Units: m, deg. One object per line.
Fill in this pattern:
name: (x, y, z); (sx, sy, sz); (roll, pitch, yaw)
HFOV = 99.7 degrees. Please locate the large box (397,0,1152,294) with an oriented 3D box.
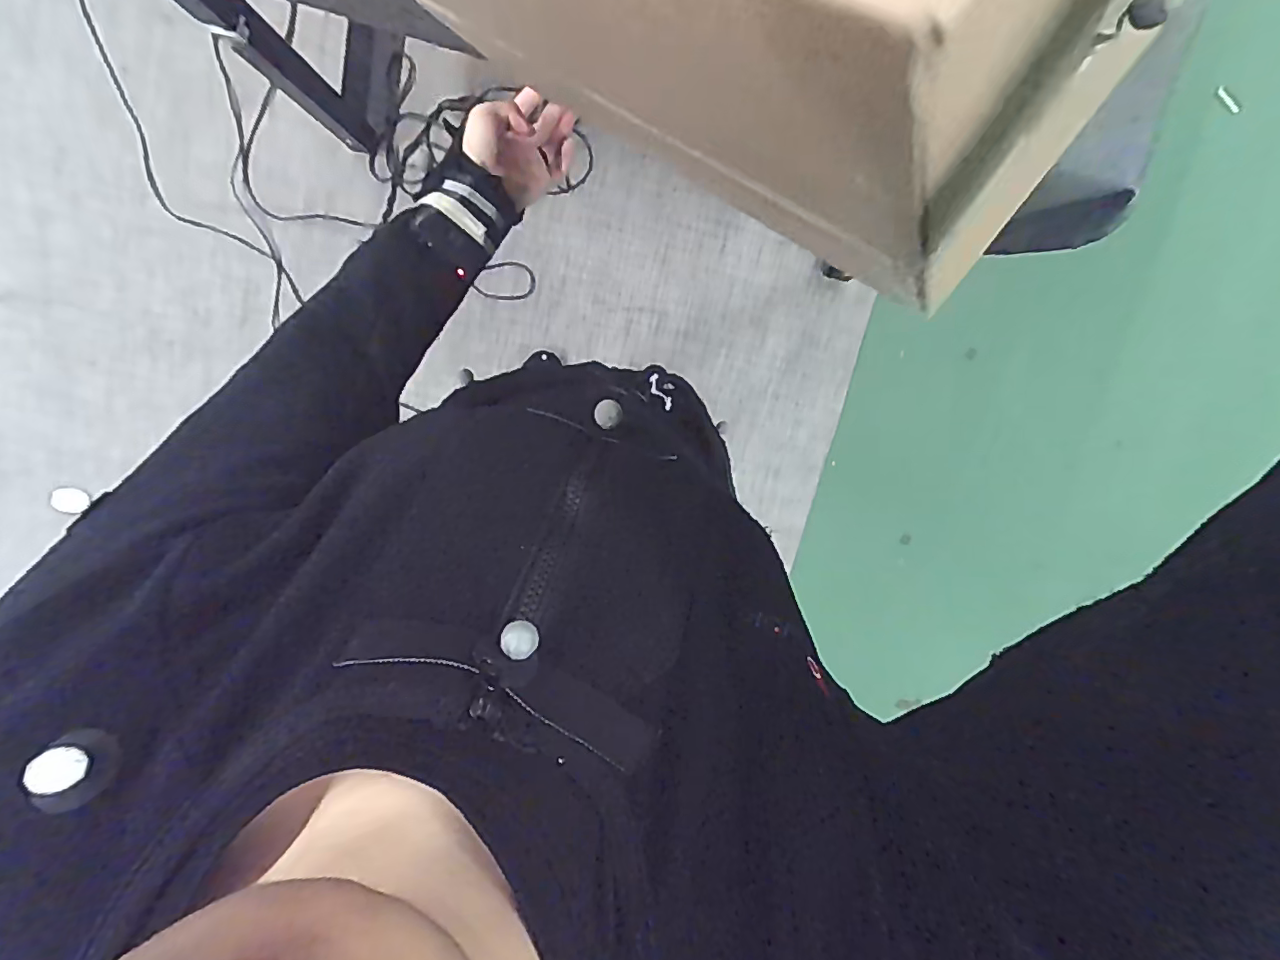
large box: (0.057, -0.335, 0.250); (0.408, 0.320, 0.320); (38, 112, 18)
